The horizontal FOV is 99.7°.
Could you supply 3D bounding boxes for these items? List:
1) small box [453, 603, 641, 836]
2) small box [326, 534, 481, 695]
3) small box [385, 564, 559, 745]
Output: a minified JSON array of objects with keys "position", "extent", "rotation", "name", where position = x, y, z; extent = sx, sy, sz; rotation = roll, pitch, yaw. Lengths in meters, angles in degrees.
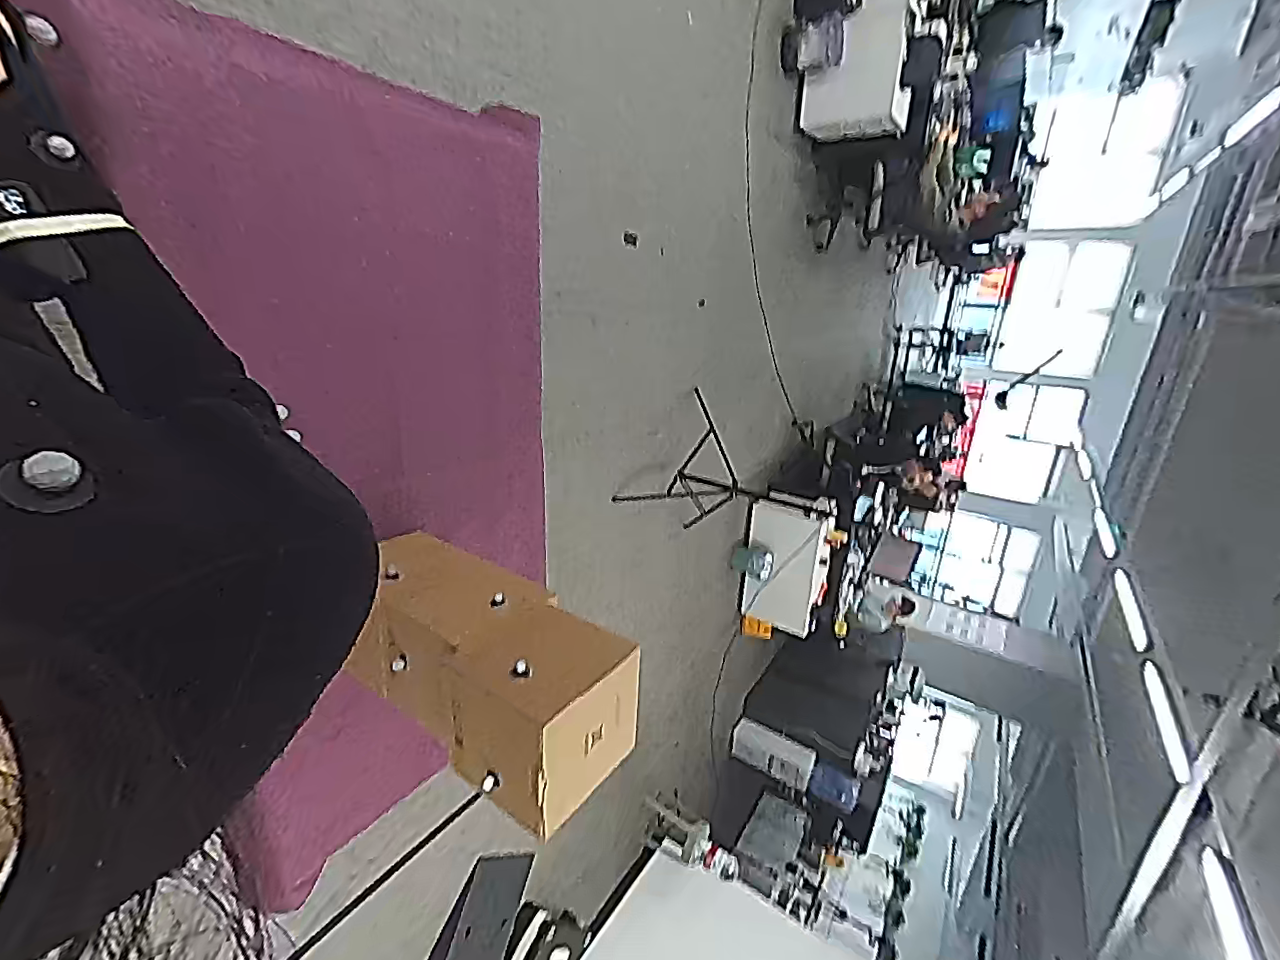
[{"position":[-0.118,0.282,0.681],"extent":[0.179,0.176,0.168],"rotation":[-24,123,-52],"name":"small box"},{"position":[-0.377,0.202,0.865],"extent":[0.179,0.176,0.168],"rotation":[-19,119,-54],"name":"small box"},{"position":[-0.239,0.240,0.783],"extent":[0.179,0.176,0.168],"rotation":[-19,118,-53],"name":"small box"}]
